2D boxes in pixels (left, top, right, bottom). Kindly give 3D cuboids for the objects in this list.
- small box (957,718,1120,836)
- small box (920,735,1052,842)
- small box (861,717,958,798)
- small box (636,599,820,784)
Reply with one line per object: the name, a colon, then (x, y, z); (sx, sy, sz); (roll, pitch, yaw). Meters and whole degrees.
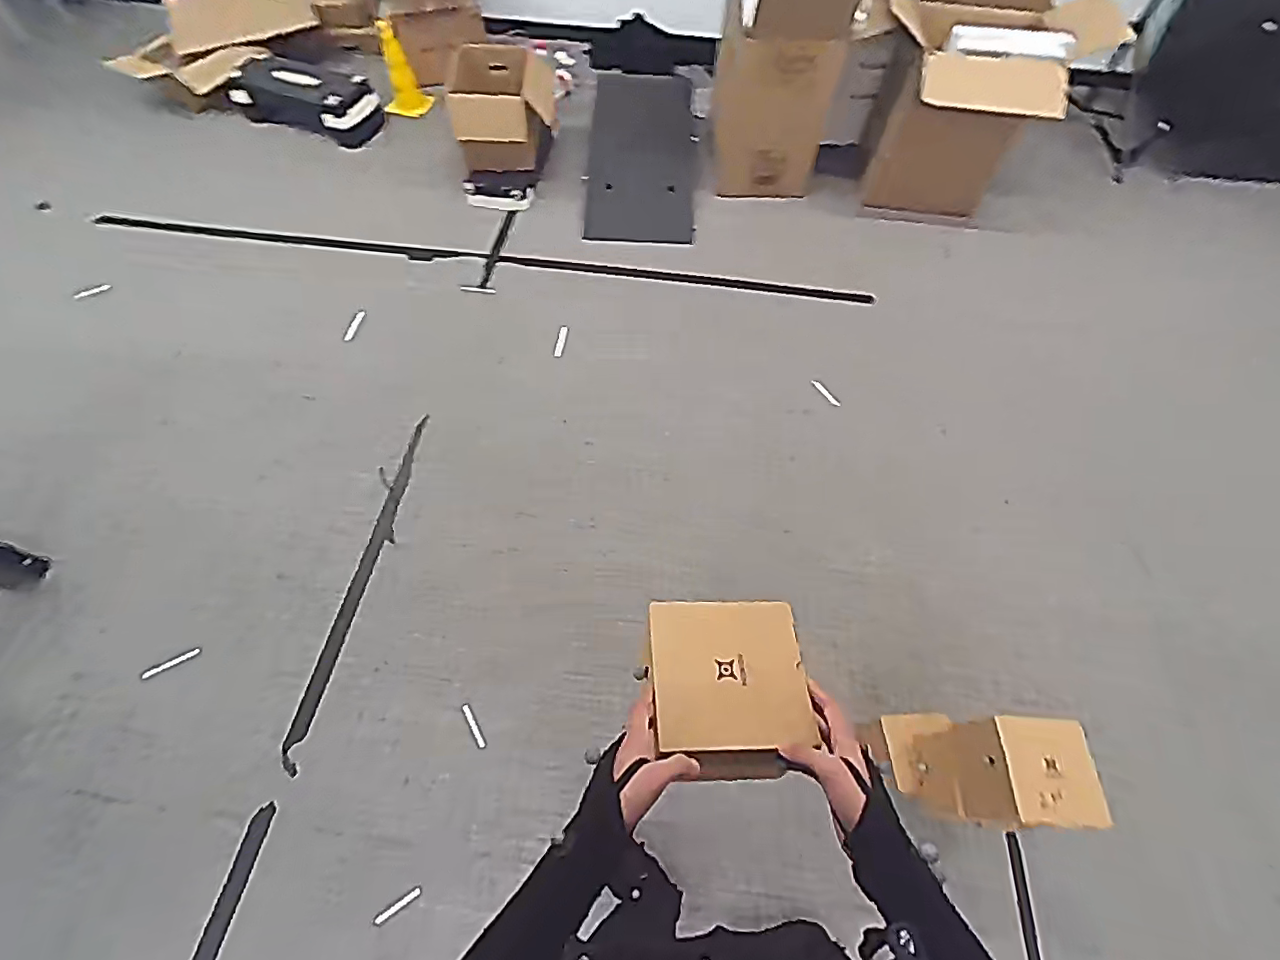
small box: (0.741, 0.565, 1.031); (0.168, 0.176, 0.179); (5, 60, 0)
small box: (0.734, 0.659, 1.166); (0.179, 0.176, 0.168); (11, 60, 4)
small box: (0.678, 0.686, 1.337); (0.179, 0.176, 0.168); (-2, 60, -3)
small box: (0.087, 0.257, 0.652); (0.179, 0.176, 0.168); (1, 51, -7)
